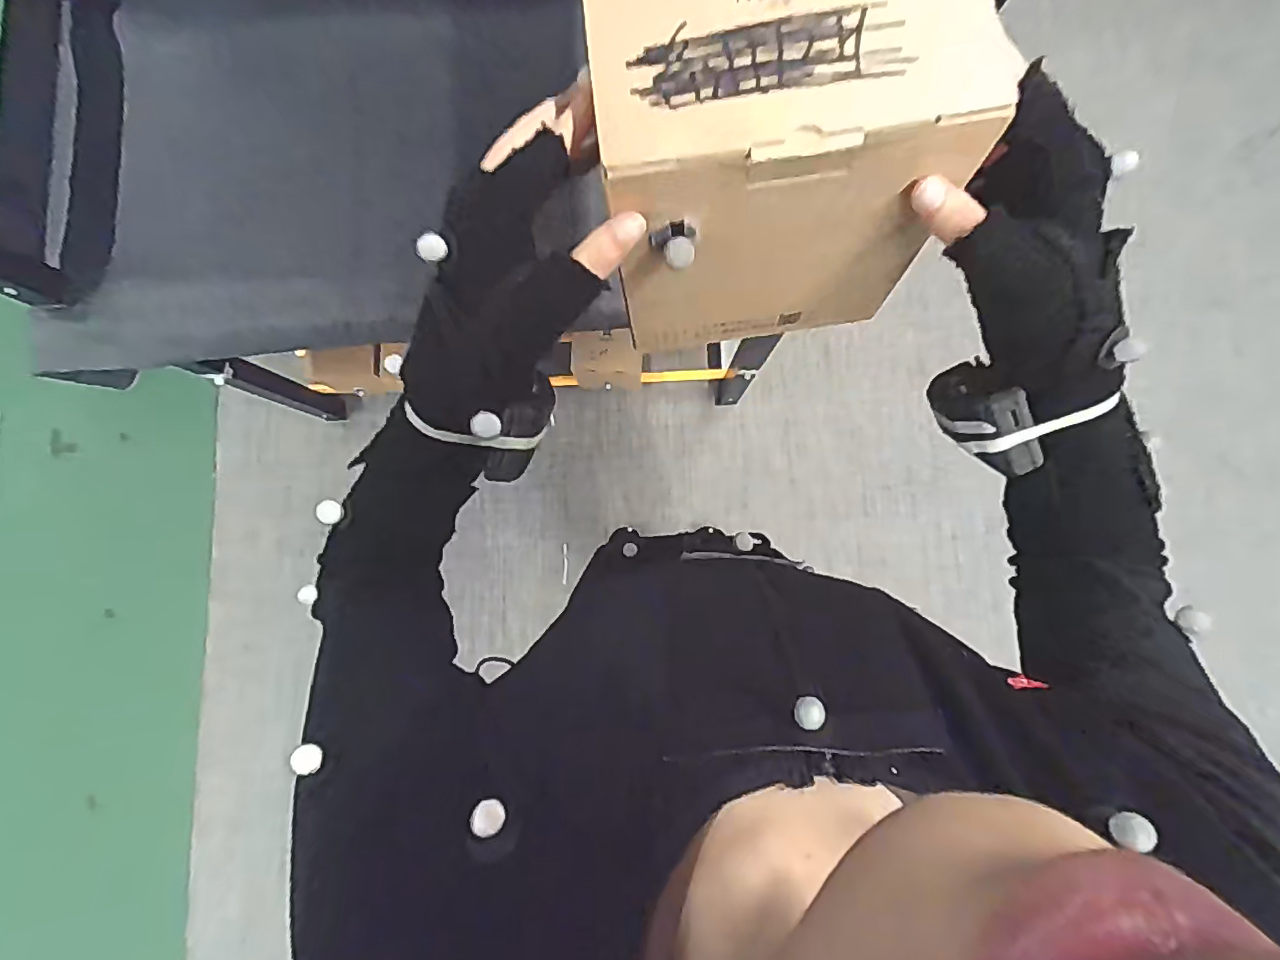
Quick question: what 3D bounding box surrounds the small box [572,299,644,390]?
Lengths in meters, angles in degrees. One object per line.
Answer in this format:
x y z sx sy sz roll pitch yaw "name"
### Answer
-0.075 -0.339 1.375 0.168 0.176 0.179 3 86 2 "small box"
